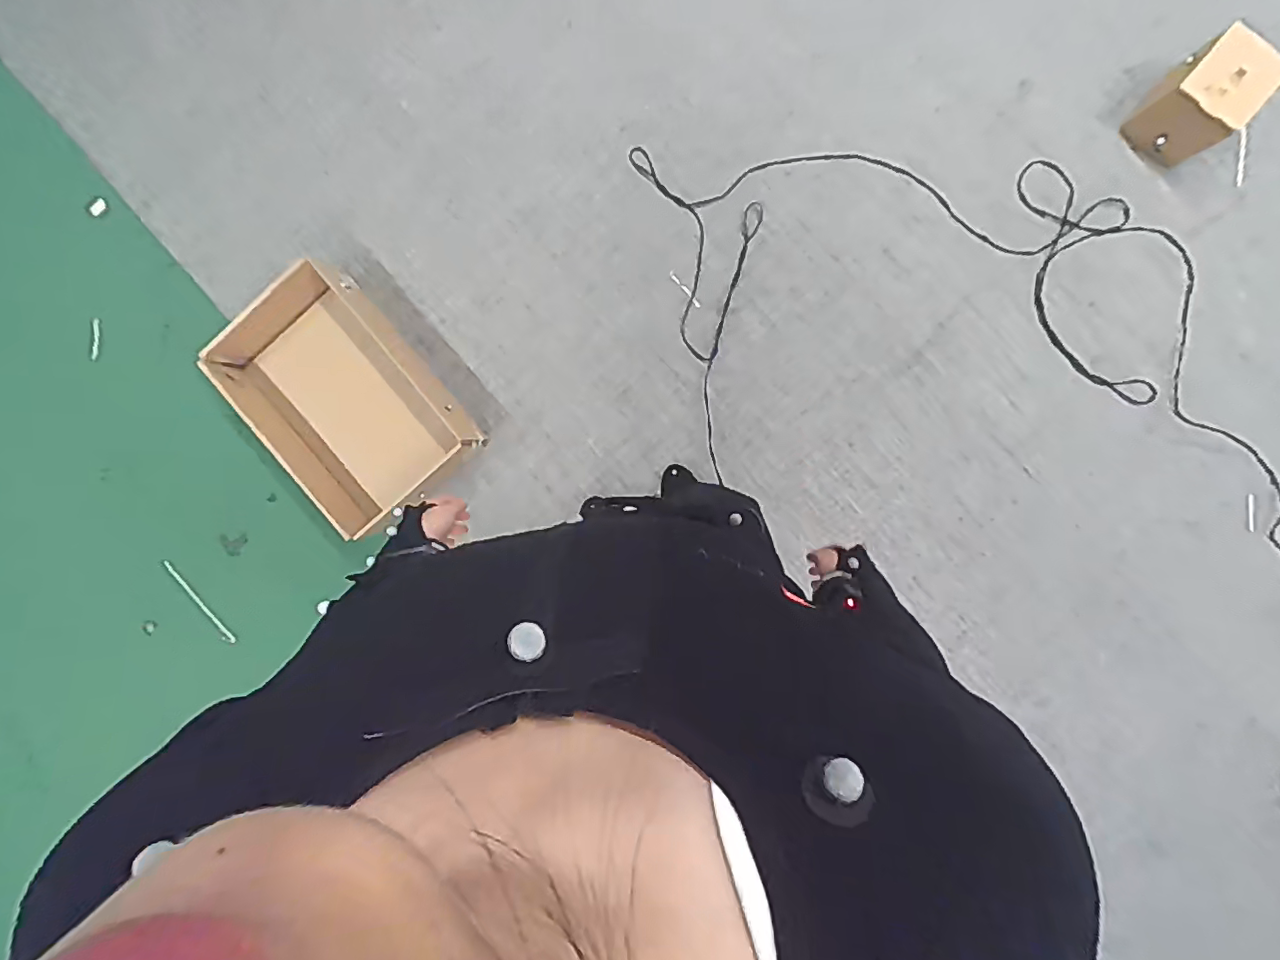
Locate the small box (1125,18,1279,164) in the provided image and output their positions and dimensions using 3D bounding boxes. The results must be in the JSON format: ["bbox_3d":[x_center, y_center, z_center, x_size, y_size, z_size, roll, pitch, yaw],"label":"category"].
[{"bbox_3d":[1.301,-0.888,1.253,0.168,0.176,0.179,39,96,1],"label":"small box"}]
